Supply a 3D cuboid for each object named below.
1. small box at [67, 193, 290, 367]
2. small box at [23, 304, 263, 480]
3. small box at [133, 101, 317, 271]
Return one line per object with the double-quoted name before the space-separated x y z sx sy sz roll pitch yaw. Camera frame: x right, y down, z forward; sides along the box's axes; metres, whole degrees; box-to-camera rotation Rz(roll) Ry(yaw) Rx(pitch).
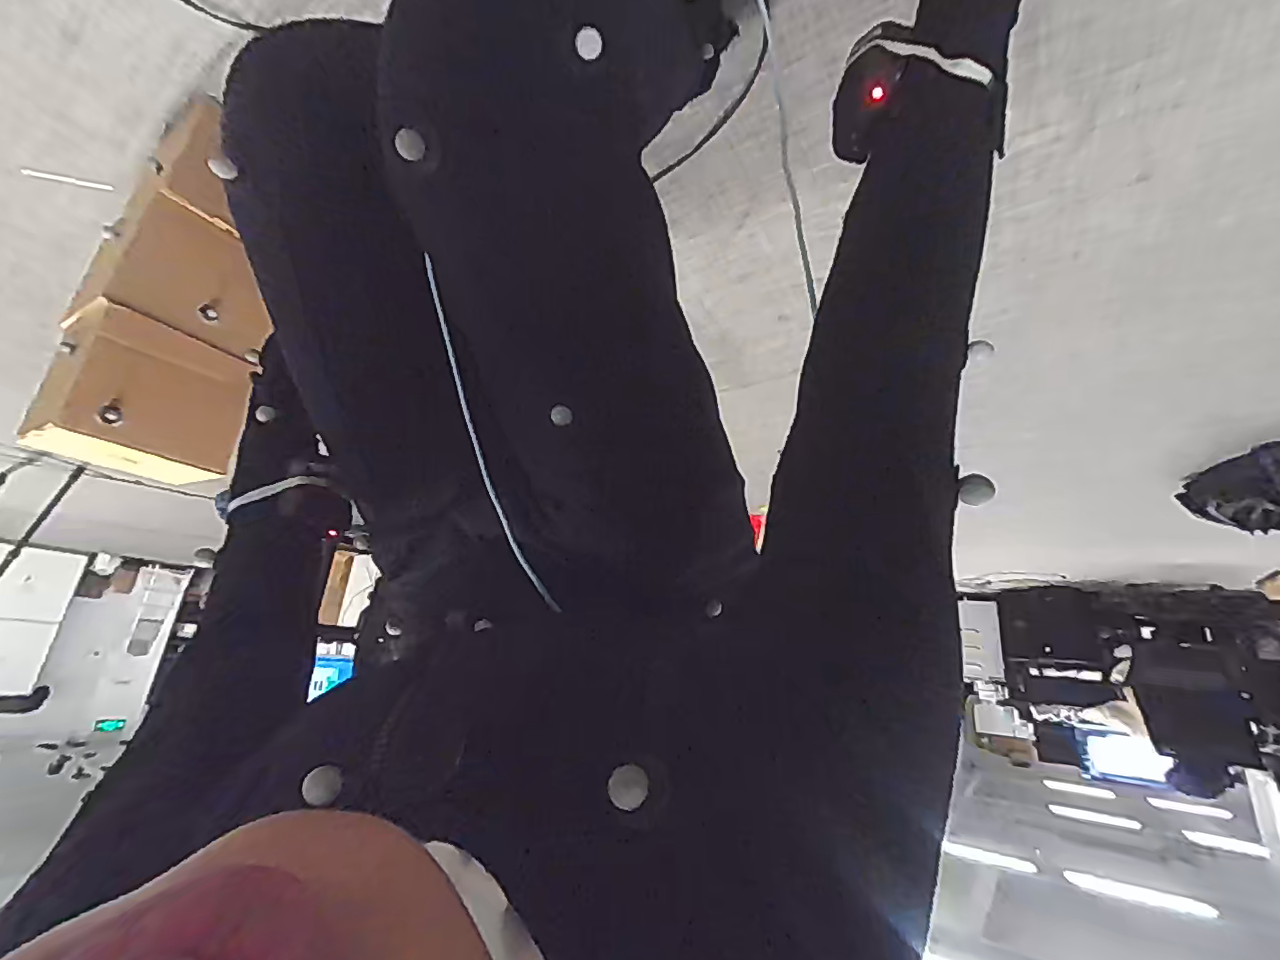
"small box" -0.648 -0.265 0.776 0.168 0.176 0.179 -5 159 30
"small box" -0.658 -0.108 0.734 0.168 0.176 0.179 -5 159 31
"small box" -0.626 -0.422 0.823 0.179 0.176 0.168 -5 159 31
